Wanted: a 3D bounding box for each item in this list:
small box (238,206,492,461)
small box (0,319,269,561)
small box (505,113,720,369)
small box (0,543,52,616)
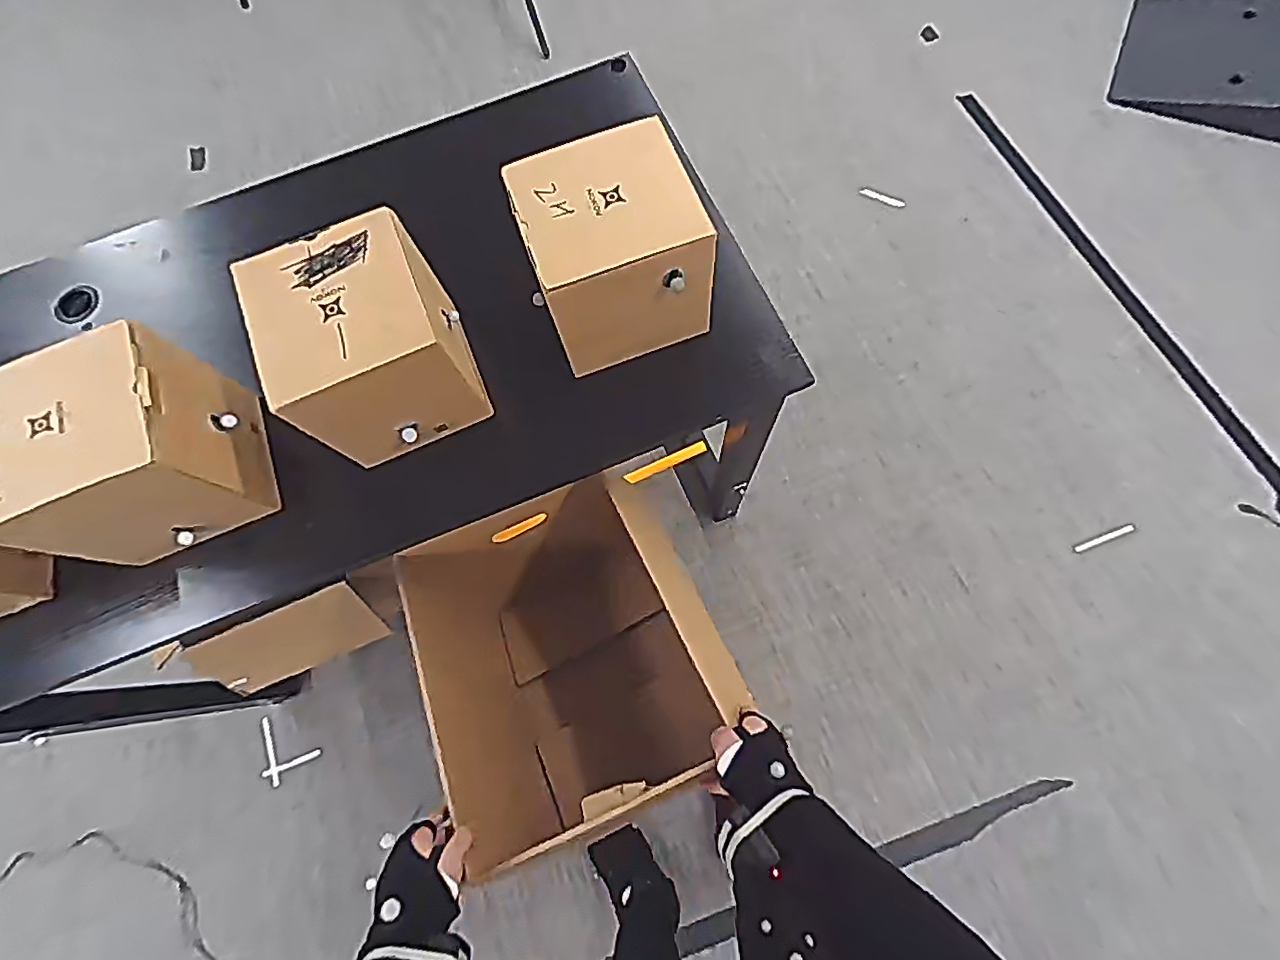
[{"bbox_3d":[-0.285,-0.147,0.589,0.168,0.176,0.179,-24,73,-4],"label":"small box"},{"bbox_3d":[-0.530,-0.030,0.569,0.179,0.176,0.168,-23,73,-5],"label":"small box"},{"bbox_3d":[-0.026,-0.253,0.604,0.179,0.176,0.168,-20,72,-2],"label":"small box"},{"bbox_3d":[-0.774,0.067,0.552,0.179,0.176,0.168,-20,73,-4],"label":"small box"}]
